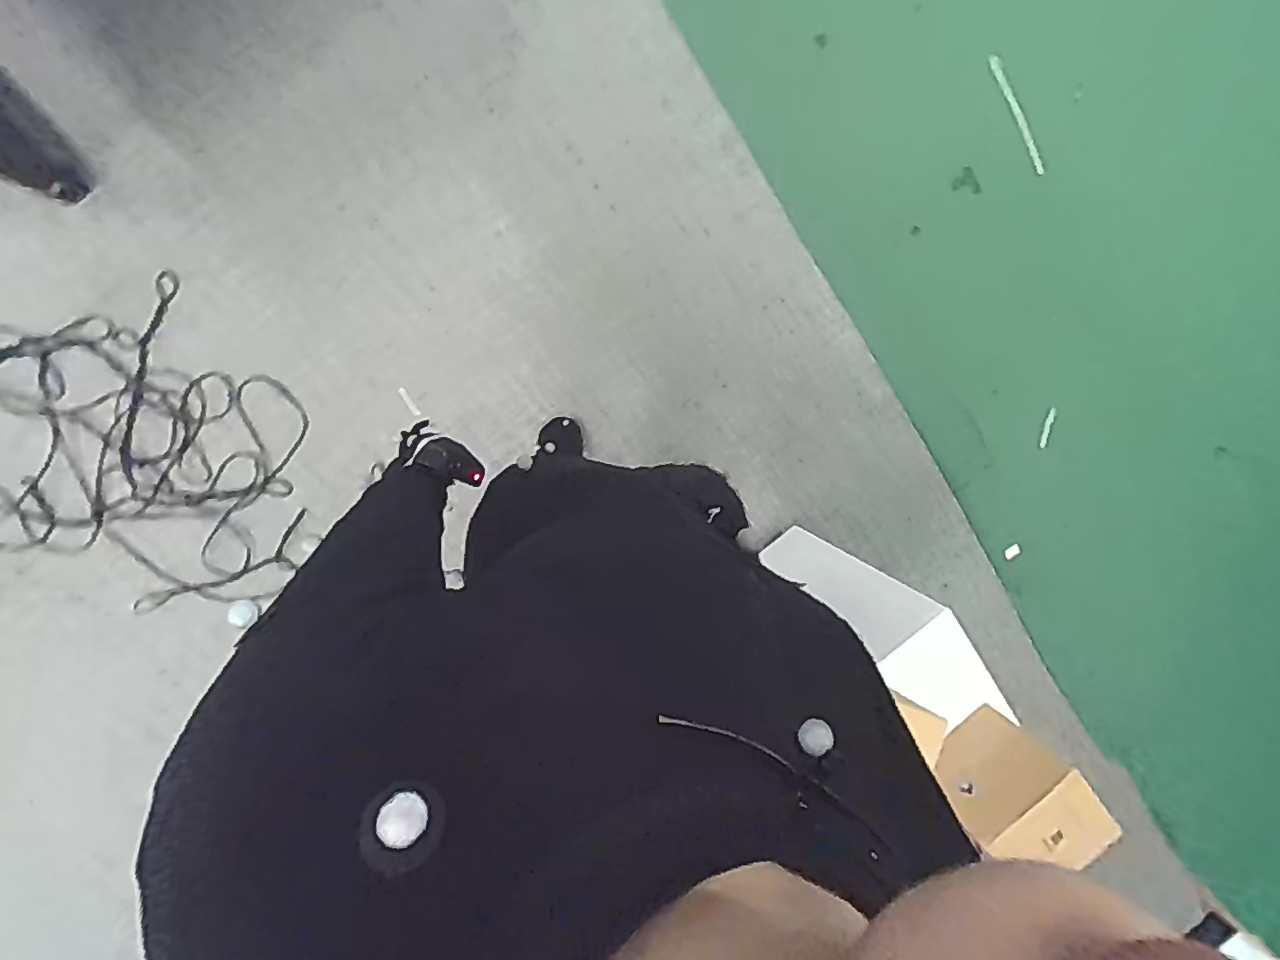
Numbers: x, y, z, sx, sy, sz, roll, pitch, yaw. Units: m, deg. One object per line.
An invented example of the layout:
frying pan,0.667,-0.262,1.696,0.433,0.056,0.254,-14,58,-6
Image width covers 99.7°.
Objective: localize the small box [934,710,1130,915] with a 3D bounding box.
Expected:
small box,0.592,0.509,0.851,0.179,0.176,0.168,-41,104,-2
